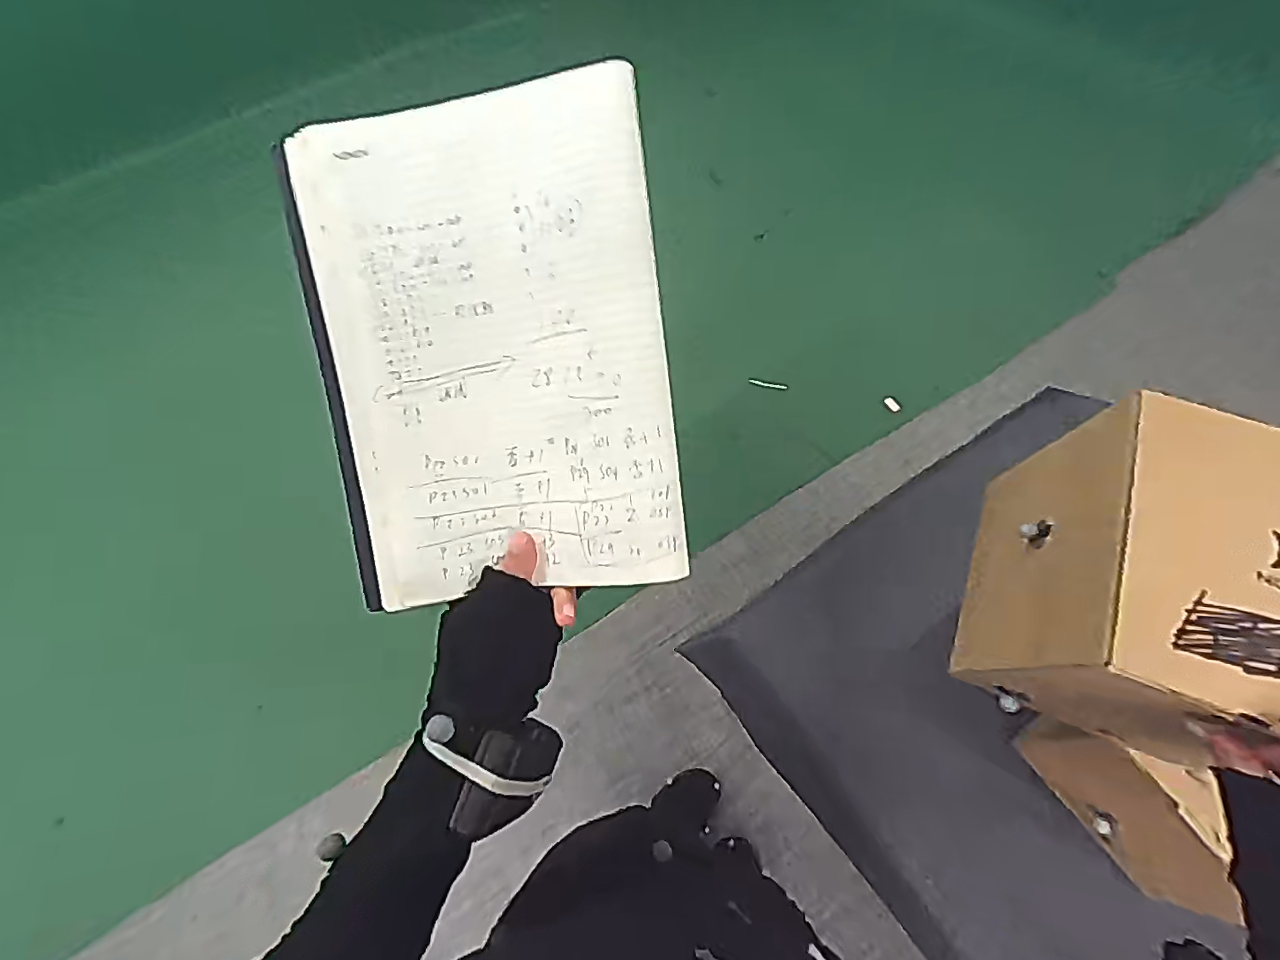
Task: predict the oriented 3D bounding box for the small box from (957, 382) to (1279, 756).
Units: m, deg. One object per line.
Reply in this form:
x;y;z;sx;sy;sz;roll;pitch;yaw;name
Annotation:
0.345;0.070;0.364;0.168;0.176;0.179;20;70;9;small box

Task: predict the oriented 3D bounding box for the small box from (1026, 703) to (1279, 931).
0.522;0.266;0.507;0.179;0.176;0.168;-31;64;-11;small box
